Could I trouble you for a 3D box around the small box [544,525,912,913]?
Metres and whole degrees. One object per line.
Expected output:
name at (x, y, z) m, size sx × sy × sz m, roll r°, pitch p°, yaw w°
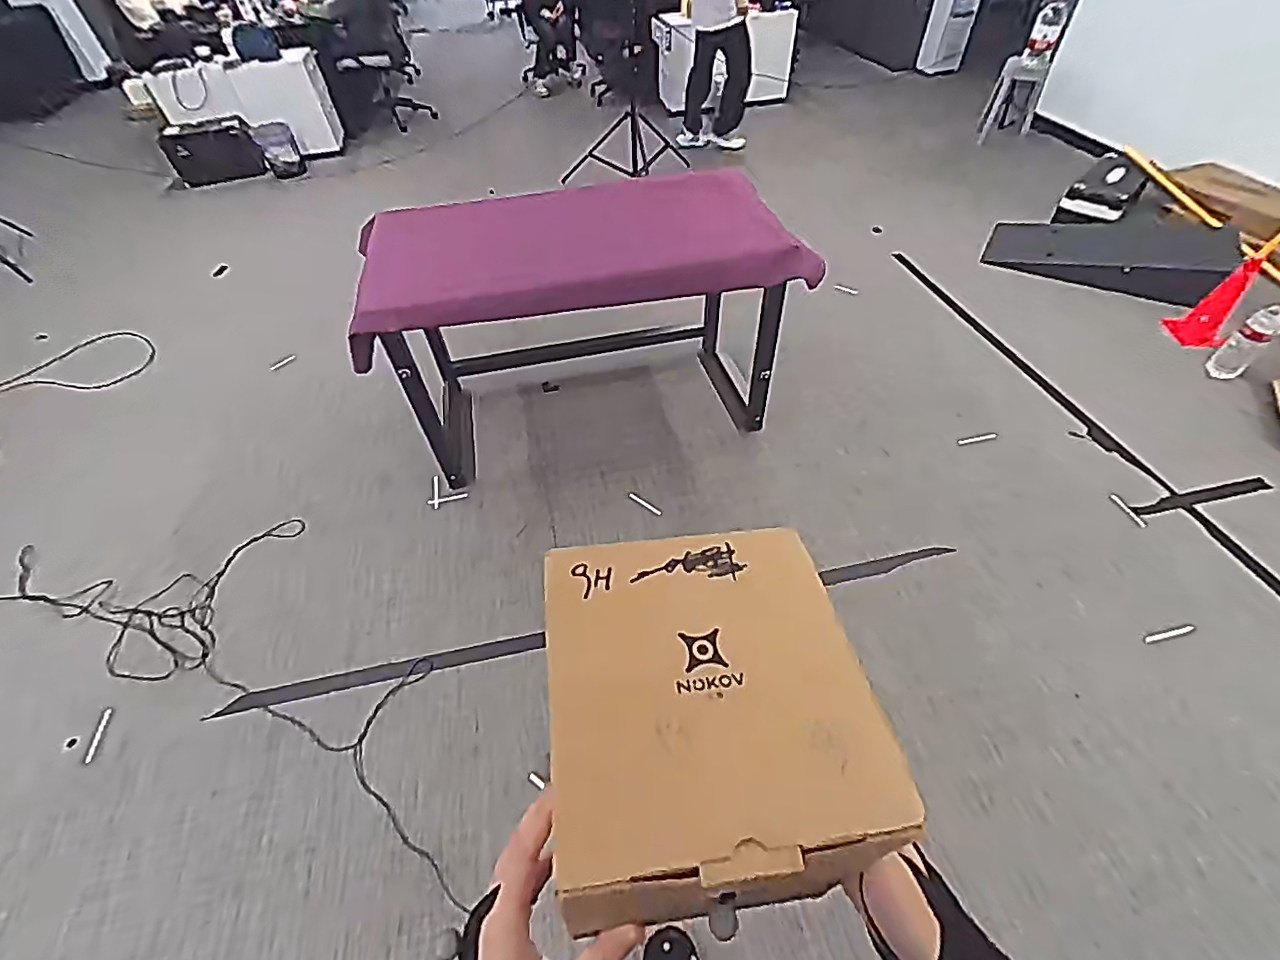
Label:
small box at (0.028, 0.153, 0.345) m, size 0.168 × 0.176 × 0.179 m, roll -4°, pitch 46°, yaw -8°
